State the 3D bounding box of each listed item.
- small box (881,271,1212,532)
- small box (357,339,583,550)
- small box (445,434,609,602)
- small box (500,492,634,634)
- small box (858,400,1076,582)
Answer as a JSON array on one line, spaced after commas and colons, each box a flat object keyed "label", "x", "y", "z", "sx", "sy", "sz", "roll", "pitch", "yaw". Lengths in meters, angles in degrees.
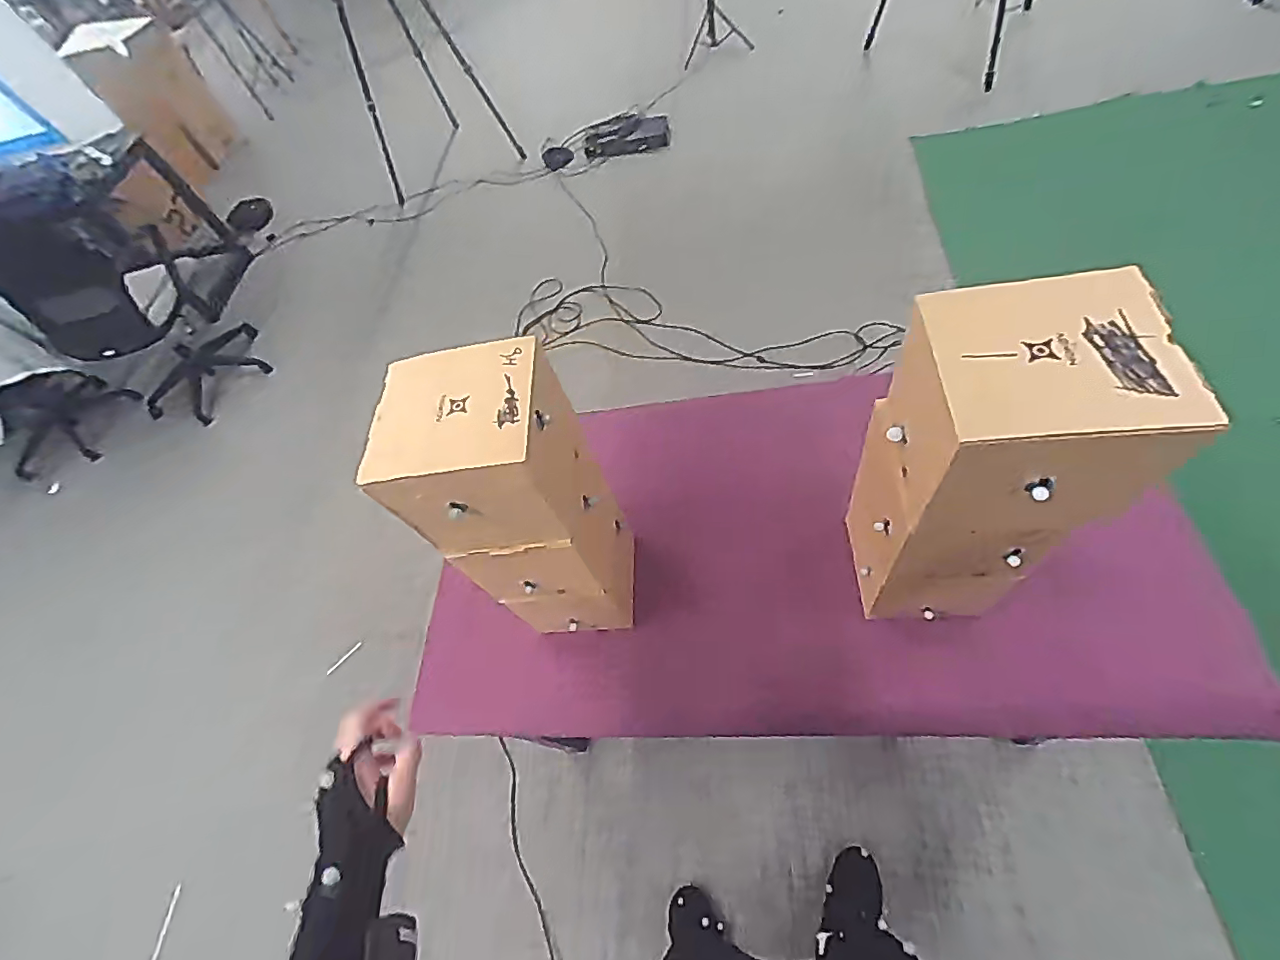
[{"label": "small box", "x": 0.339, "y": -0.061, "z": 0.501, "sx": 0.179, "sy": 0.176, "sz": 0.168, "roll": -4, "pitch": 58, "yaw": 13}, {"label": "small box", "x": -0.178, "y": -0.030, "z": 0.622, "sx": 0.179, "sy": 0.176, "sz": 0.168, "roll": -9, "pitch": 58, "yaw": 10}, {"label": "small box", "x": -0.144, "y": 0.056, "z": 0.758, "sx": 0.168, "sy": 0.176, "sz": 0.179, "roll": -7, "pitch": 58, "yaw": 10}, {"label": "small box", "x": -0.109, "y": 0.141, "z": 0.891, "sx": 0.168, "sy": 0.176, "sz": 0.179, "roll": -6, "pitch": 58, "yaw": 12}, {"label": "small box", "x": 0.367, "y": 0.015, "z": 0.644, "sx": 0.168, "sy": 0.176, "sz": 0.179, "roll": -6, "pitch": 58, "yaw": 12}]
